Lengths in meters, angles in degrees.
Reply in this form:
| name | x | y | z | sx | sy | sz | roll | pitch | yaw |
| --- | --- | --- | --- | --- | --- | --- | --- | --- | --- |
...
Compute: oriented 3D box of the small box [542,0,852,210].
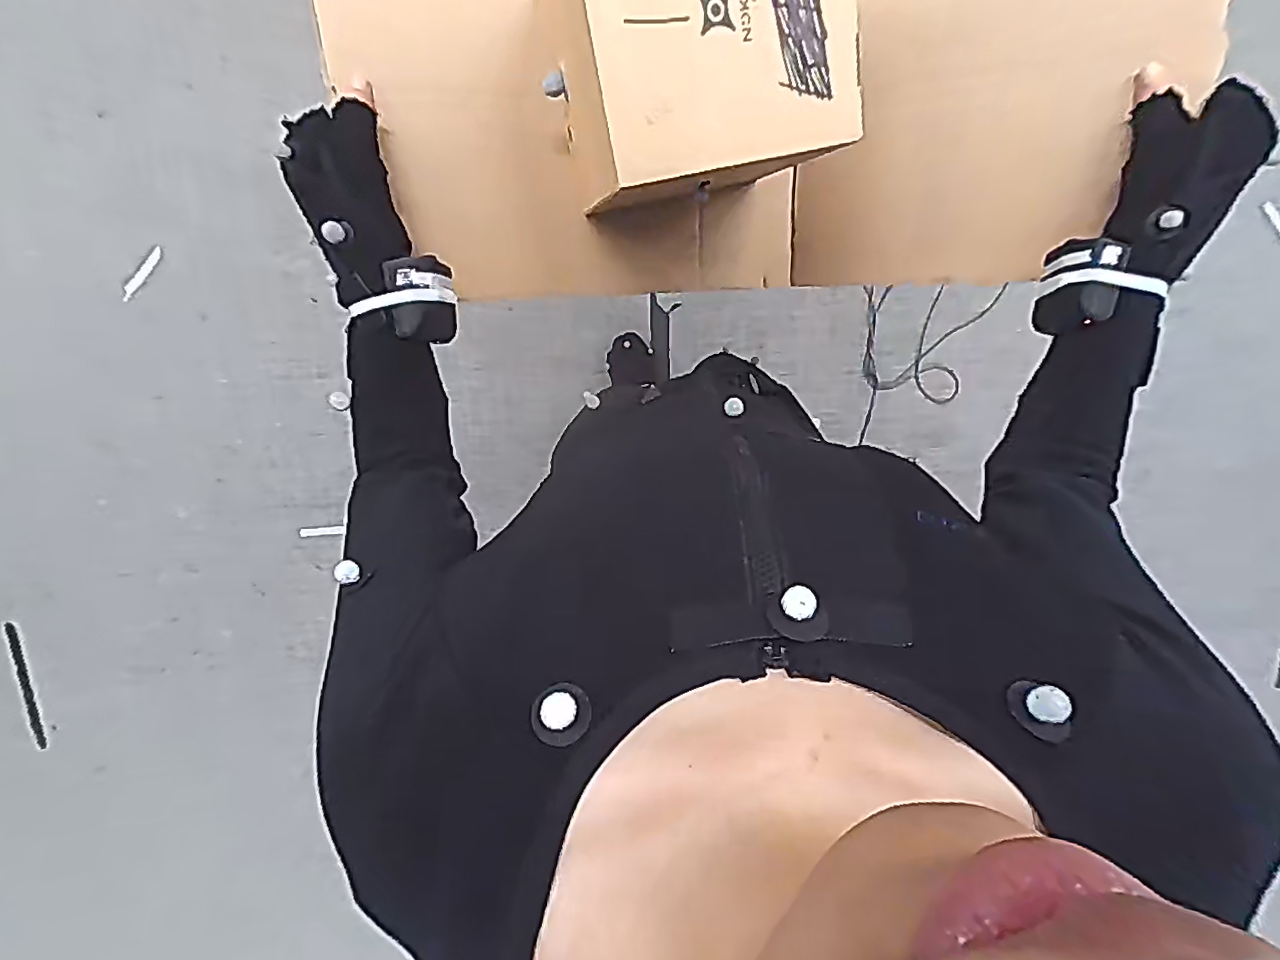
| name | x | y | z | sx | sy | sz | roll | pitch | yaw |
| --- | --- | --- | --- | --- | --- | --- | --- | --- | --- |
| small box | 0.034 | -0.315 | 0.409 | 0.179 | 0.176 | 0.168 | -15 | 113 | -8 |
